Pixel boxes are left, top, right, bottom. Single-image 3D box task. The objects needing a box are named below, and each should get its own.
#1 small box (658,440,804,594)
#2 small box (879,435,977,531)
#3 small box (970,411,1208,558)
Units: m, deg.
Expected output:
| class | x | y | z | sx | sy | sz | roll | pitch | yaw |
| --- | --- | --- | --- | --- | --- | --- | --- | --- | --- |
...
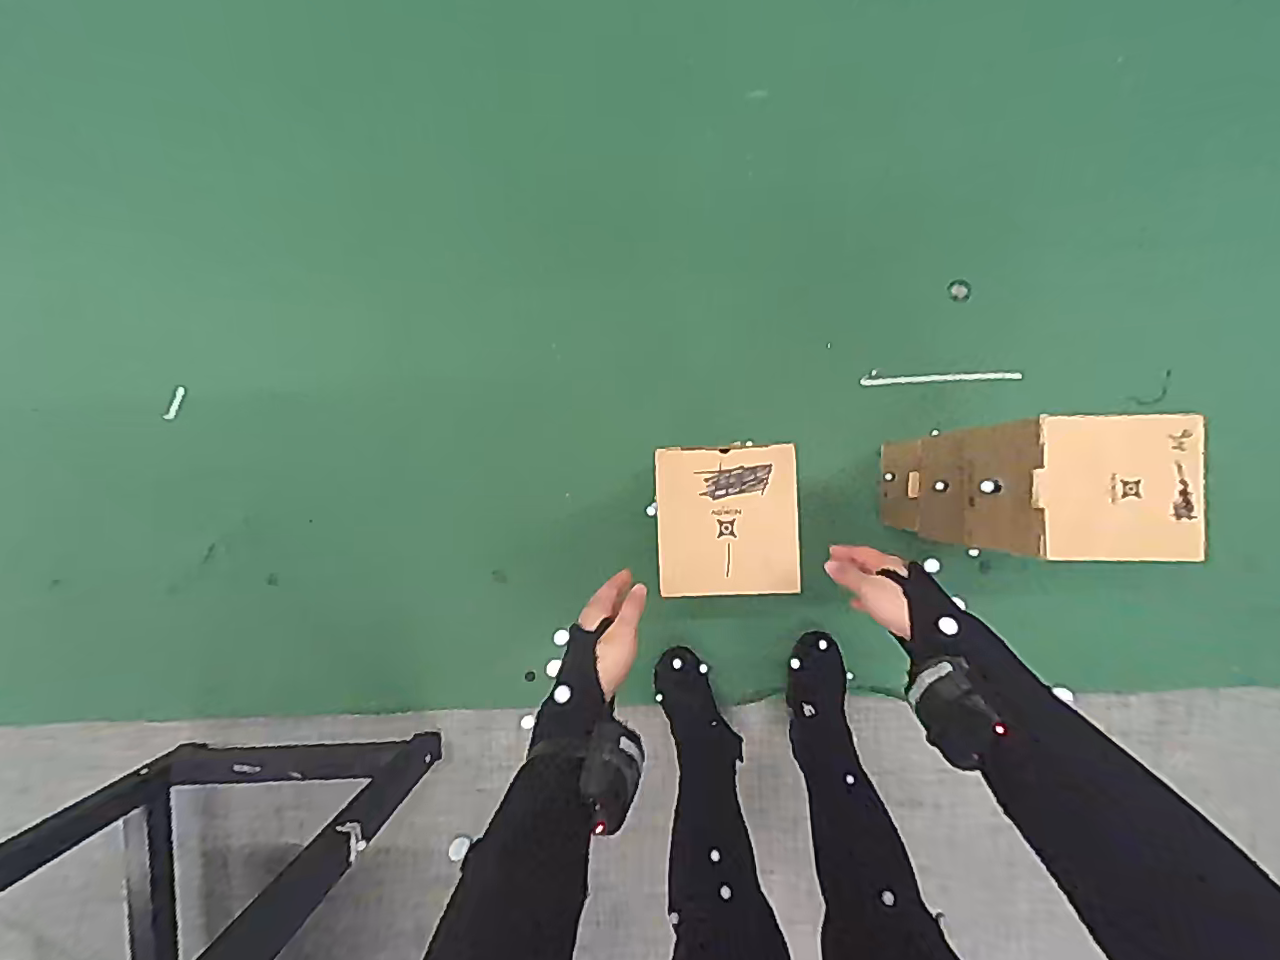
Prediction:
| class | x | y | z | sx | sy | sz | roll | pitch | yaw |
| --- | --- | --- | --- | --- | --- | --- | --- | --- | --- |
| small box | 0.107 | 0.044 | 0.703 | 0.168 | 0.176 | 0.179 | -2 | 90 | 3 |
| small box | 0.571 | 0.004 | 1.008 | 0.179 | 0.176 | 0.168 | 1 | 91 | 2 |
| small box | 0.544 | 0.005 | 0.682 | 0.179 | 0.176 | 0.168 | 0 | 90 | 4 |
